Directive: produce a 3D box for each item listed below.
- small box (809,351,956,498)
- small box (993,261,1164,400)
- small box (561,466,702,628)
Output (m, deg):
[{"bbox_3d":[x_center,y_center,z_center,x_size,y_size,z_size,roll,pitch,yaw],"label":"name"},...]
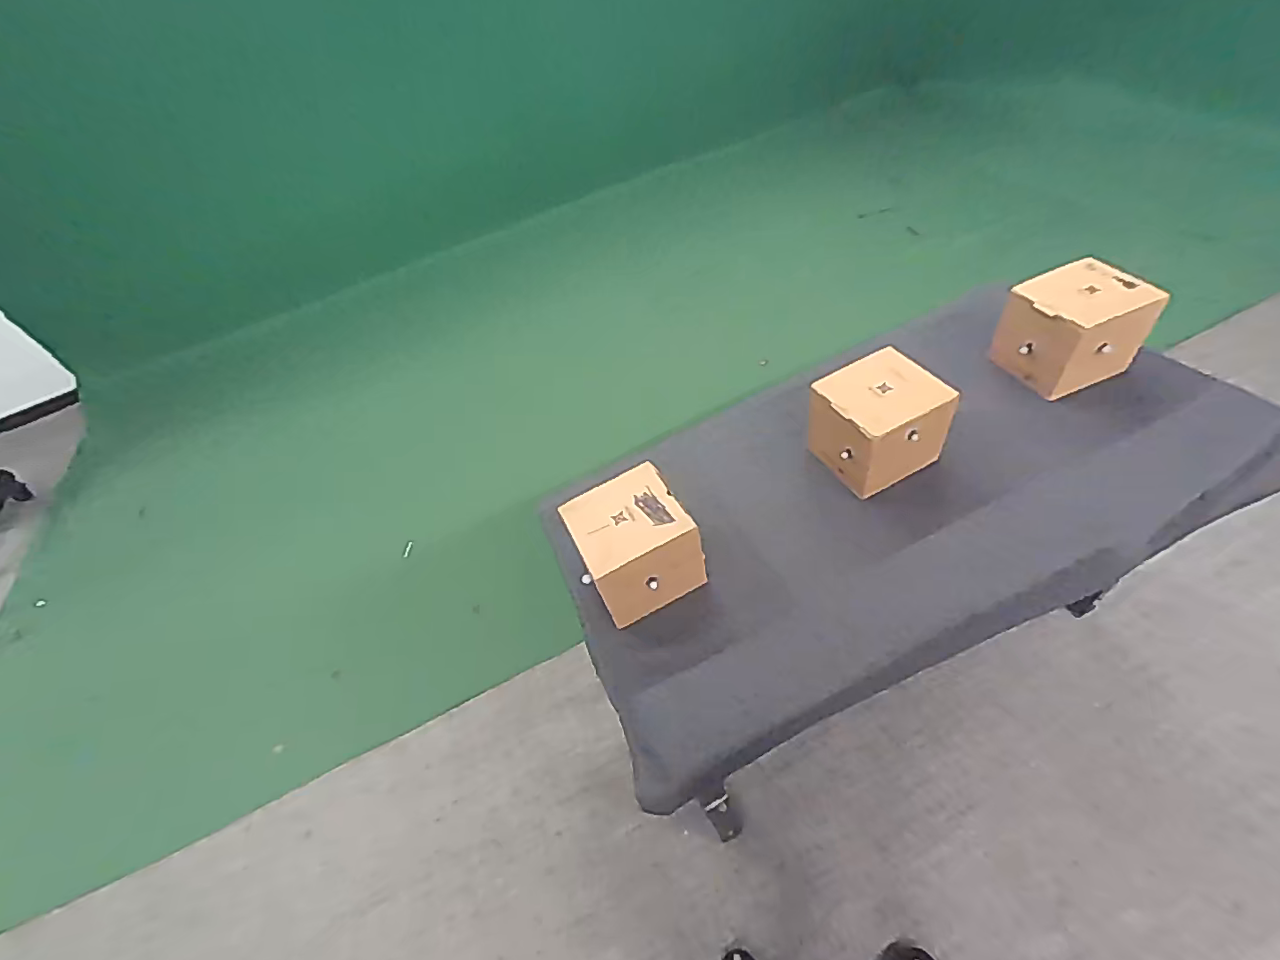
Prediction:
[{"bbox_3d":[0.428,-0.097,0.987,0.179,0.176,0.168,-26,50,-10],"label":"small box"},{"bbox_3d":[0.820,-0.283,1.040,0.179,0.176,0.168,-22,49,-4],"label":"small box"},{"bbox_3d":[-0.007,0.115,0.912,0.179,0.176,0.168,-27,49,-9],"label":"small box"}]
